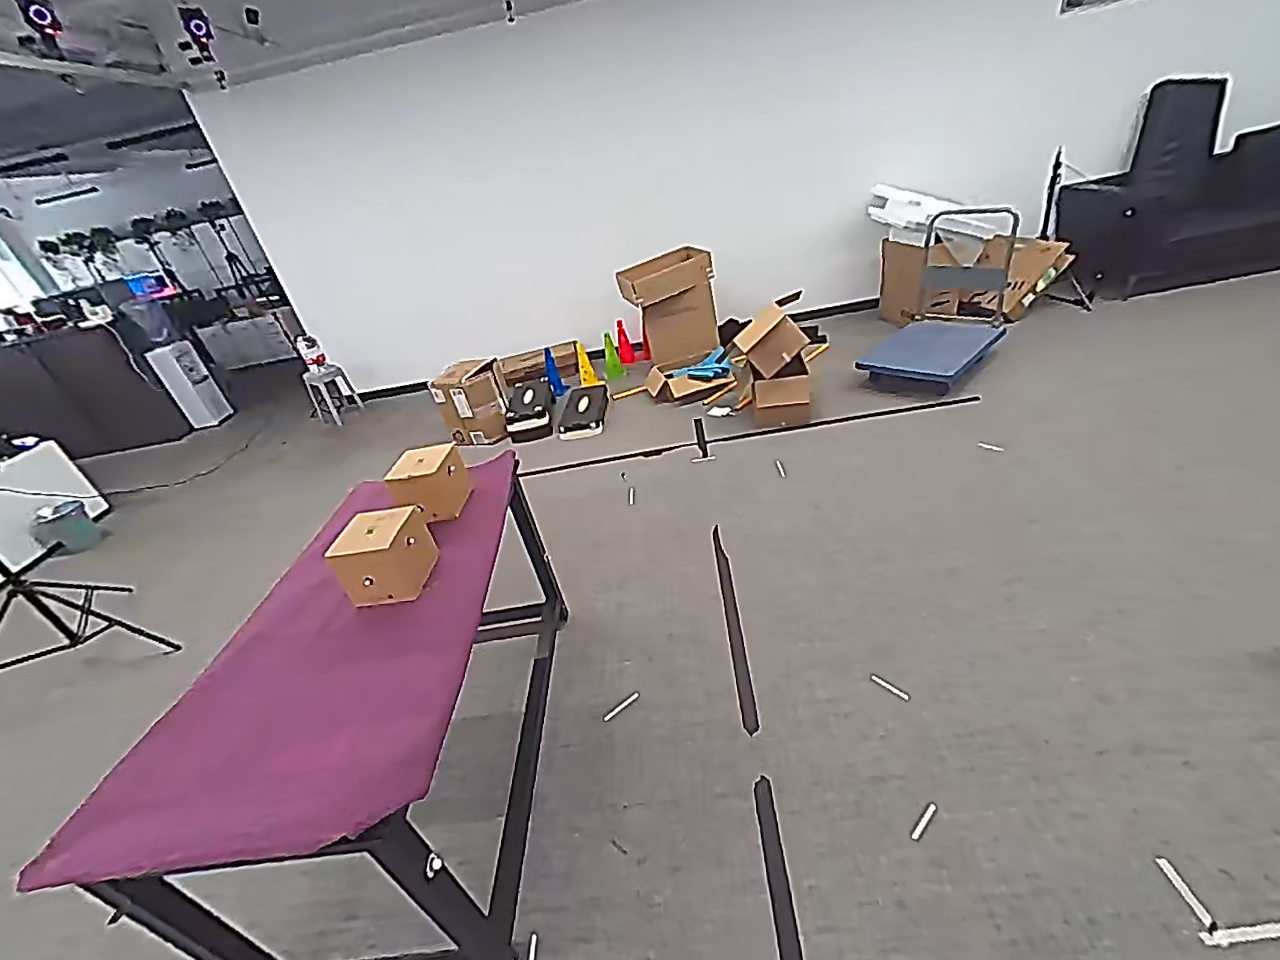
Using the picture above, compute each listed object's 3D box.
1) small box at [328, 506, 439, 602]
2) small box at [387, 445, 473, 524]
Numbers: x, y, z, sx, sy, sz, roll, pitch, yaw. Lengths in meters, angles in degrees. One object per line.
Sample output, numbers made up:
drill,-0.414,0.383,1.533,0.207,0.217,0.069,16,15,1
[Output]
small box,-0.633,0.192,1.363,0.168,0.176,0.179,-8,31,7
small box,-0.630,0.015,1.649,0.168,0.176,0.179,-9,32,8
